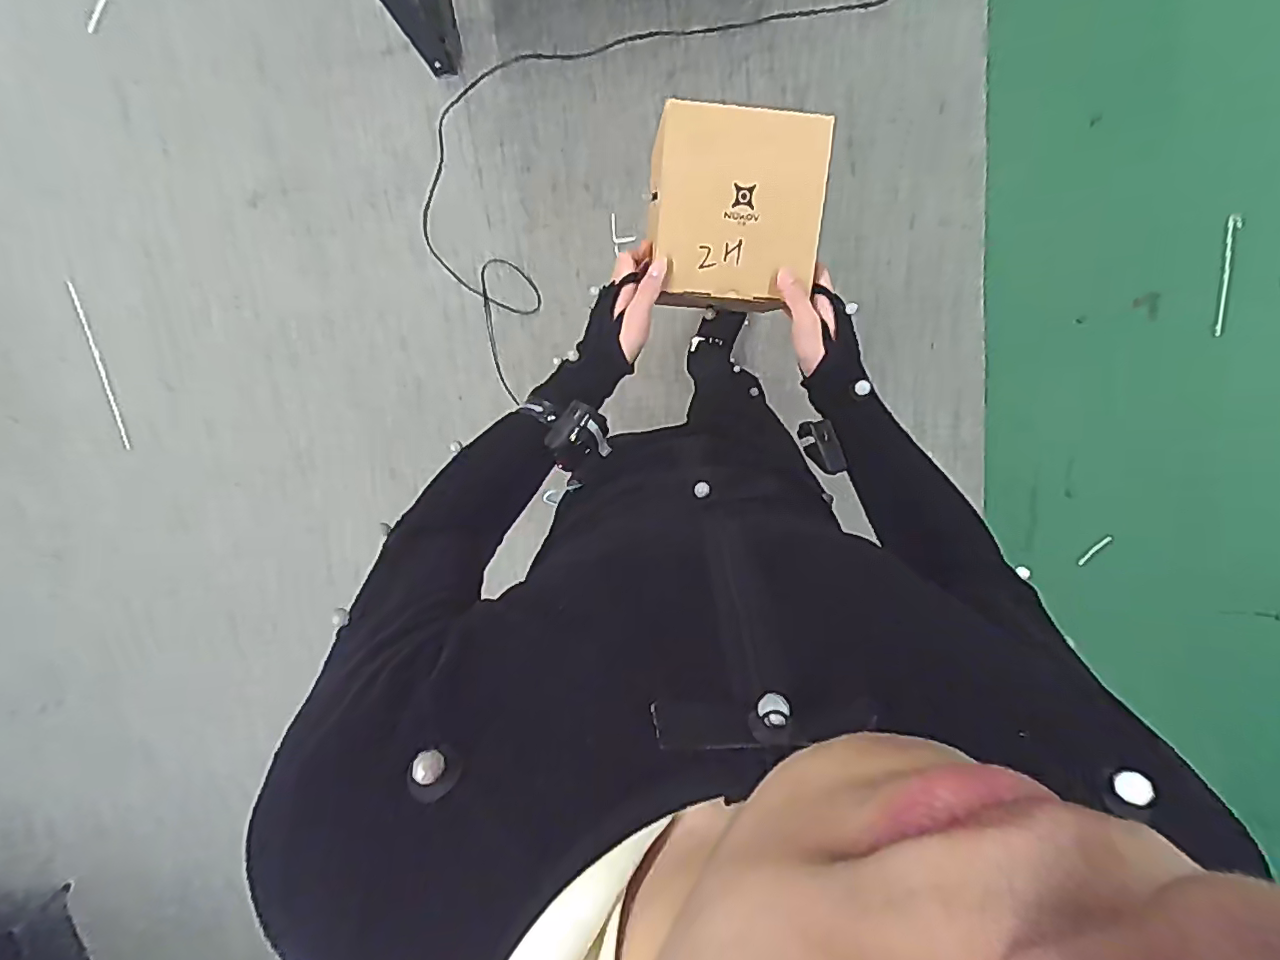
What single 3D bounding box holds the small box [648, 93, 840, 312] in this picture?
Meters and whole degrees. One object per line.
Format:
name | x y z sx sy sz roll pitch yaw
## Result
small box | 0.100 -0.291 0.608 0.168 0.176 0.179 3 104 -4
